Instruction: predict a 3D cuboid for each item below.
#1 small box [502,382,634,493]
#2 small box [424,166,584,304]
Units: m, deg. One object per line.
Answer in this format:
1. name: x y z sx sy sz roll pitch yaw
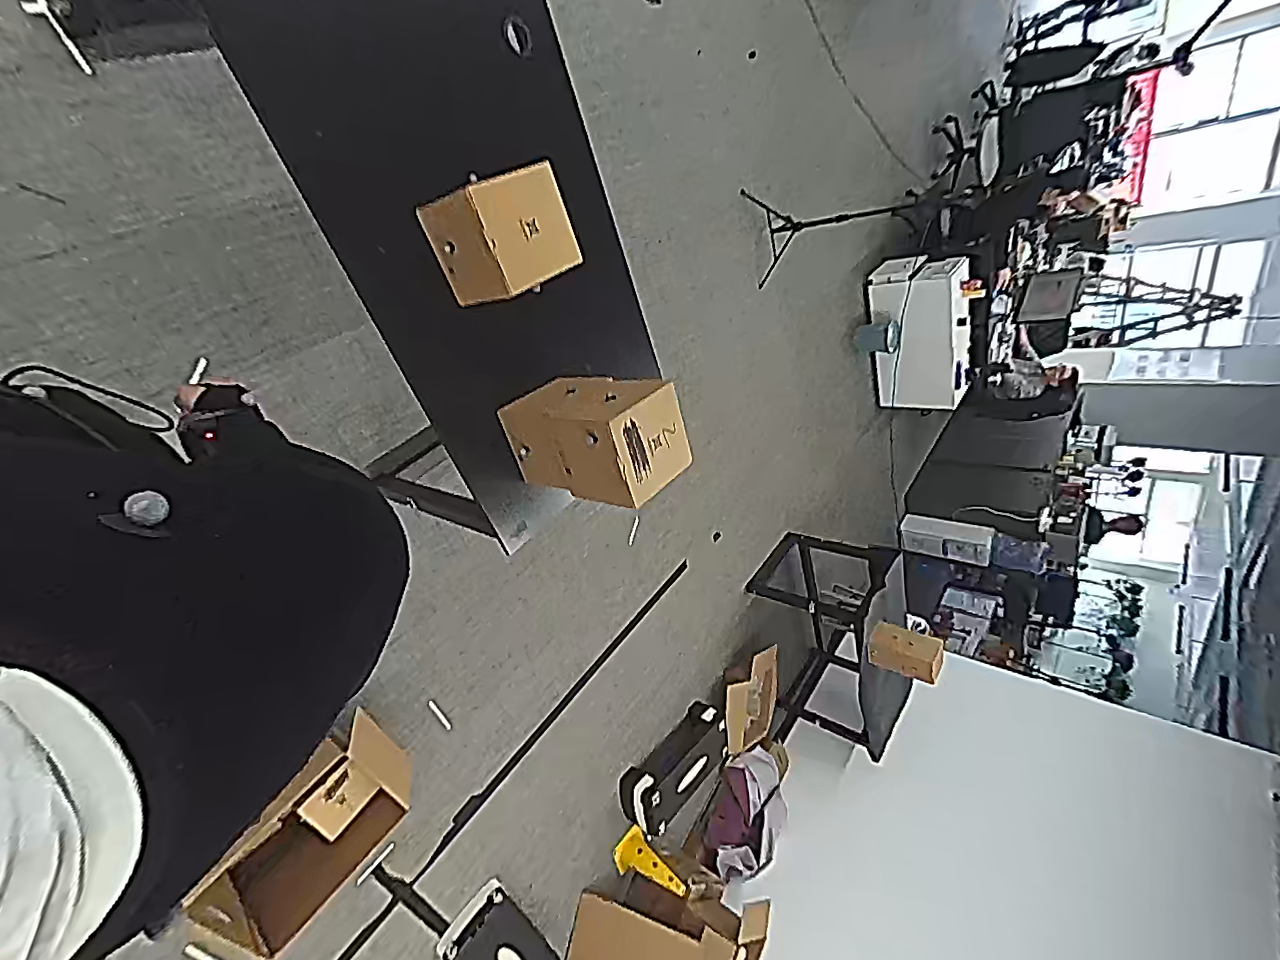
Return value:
1. small box: -0.145 -0.095 1.098 0.179 0.176 0.168 -38 123 -37
2. small box: -0.235 -0.419 0.939 0.179 0.176 0.168 -43 127 -34
